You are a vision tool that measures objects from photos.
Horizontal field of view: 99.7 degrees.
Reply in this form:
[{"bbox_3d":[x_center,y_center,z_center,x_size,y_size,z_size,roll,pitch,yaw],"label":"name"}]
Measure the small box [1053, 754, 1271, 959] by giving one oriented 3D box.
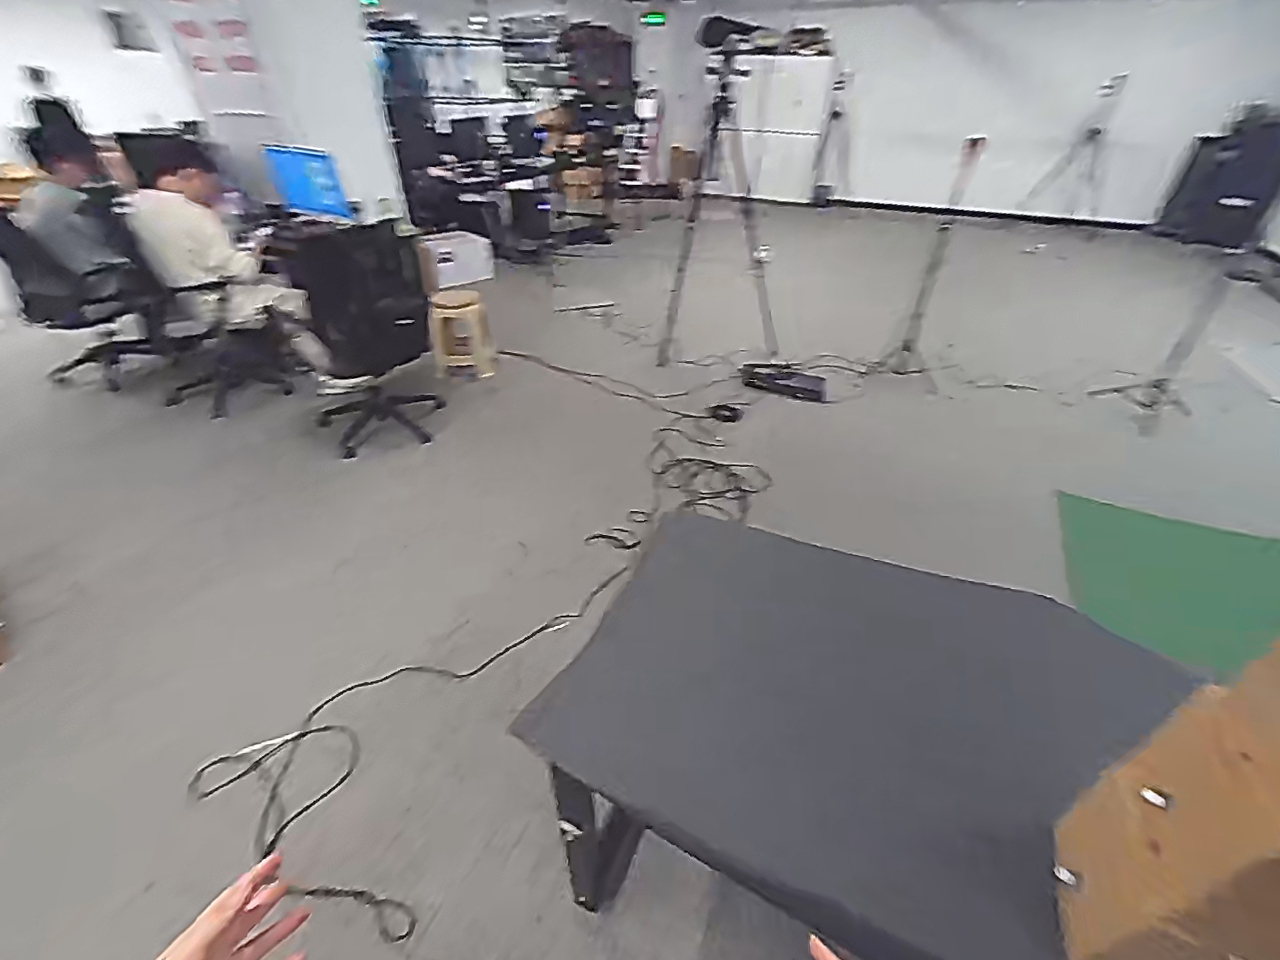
[{"bbox_3d":[0.589,0.454,0.594,0.168,0.176,0.179,16,38,22],"label":"small box"}]
